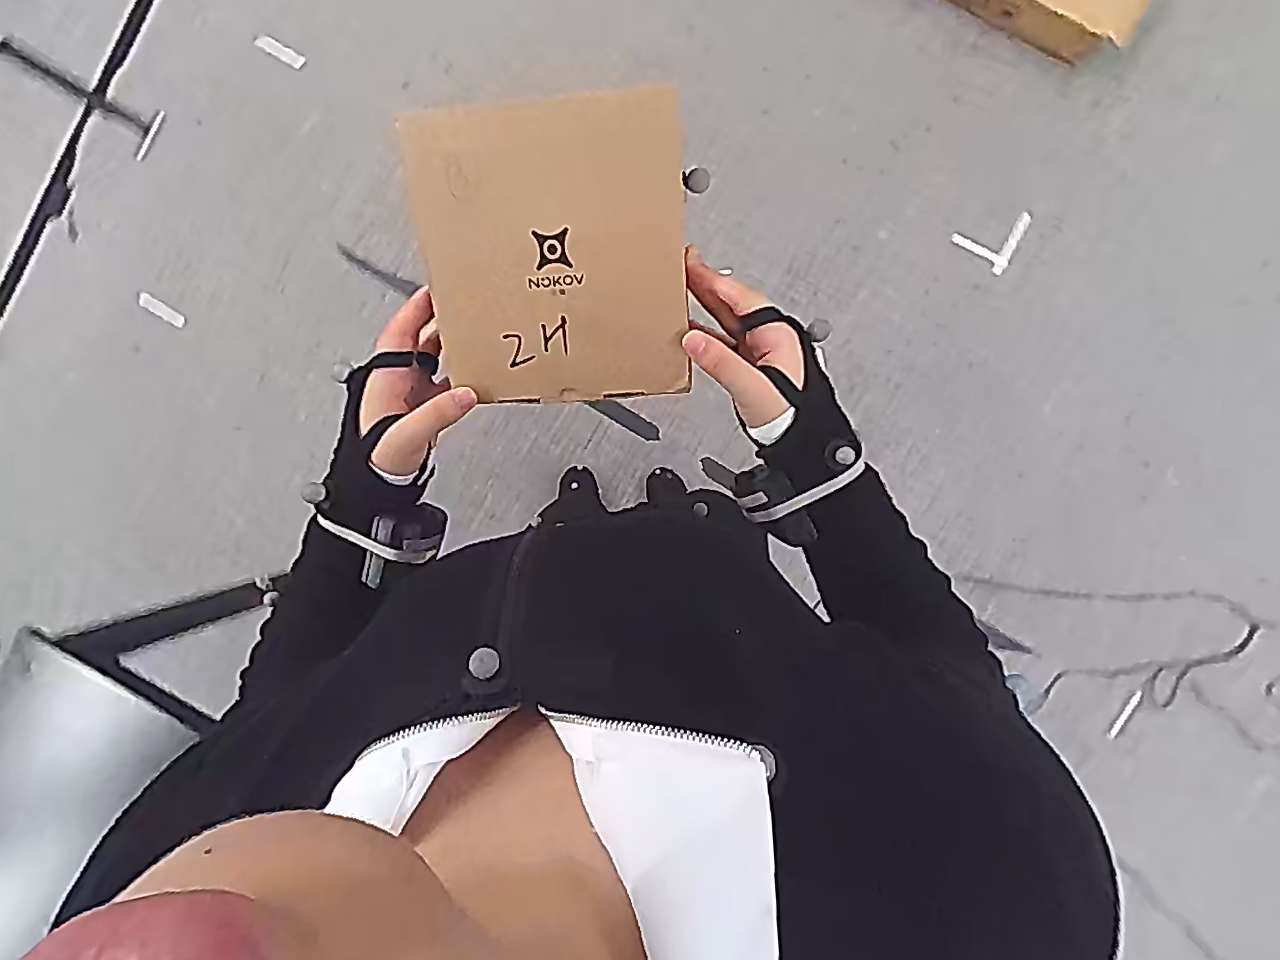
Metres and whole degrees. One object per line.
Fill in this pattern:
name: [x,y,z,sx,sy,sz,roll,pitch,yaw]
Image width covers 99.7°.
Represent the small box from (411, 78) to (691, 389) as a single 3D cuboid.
small box: [-0.045,-0.175,0.416,0.168,0.176,0.179,-1,112,6]
